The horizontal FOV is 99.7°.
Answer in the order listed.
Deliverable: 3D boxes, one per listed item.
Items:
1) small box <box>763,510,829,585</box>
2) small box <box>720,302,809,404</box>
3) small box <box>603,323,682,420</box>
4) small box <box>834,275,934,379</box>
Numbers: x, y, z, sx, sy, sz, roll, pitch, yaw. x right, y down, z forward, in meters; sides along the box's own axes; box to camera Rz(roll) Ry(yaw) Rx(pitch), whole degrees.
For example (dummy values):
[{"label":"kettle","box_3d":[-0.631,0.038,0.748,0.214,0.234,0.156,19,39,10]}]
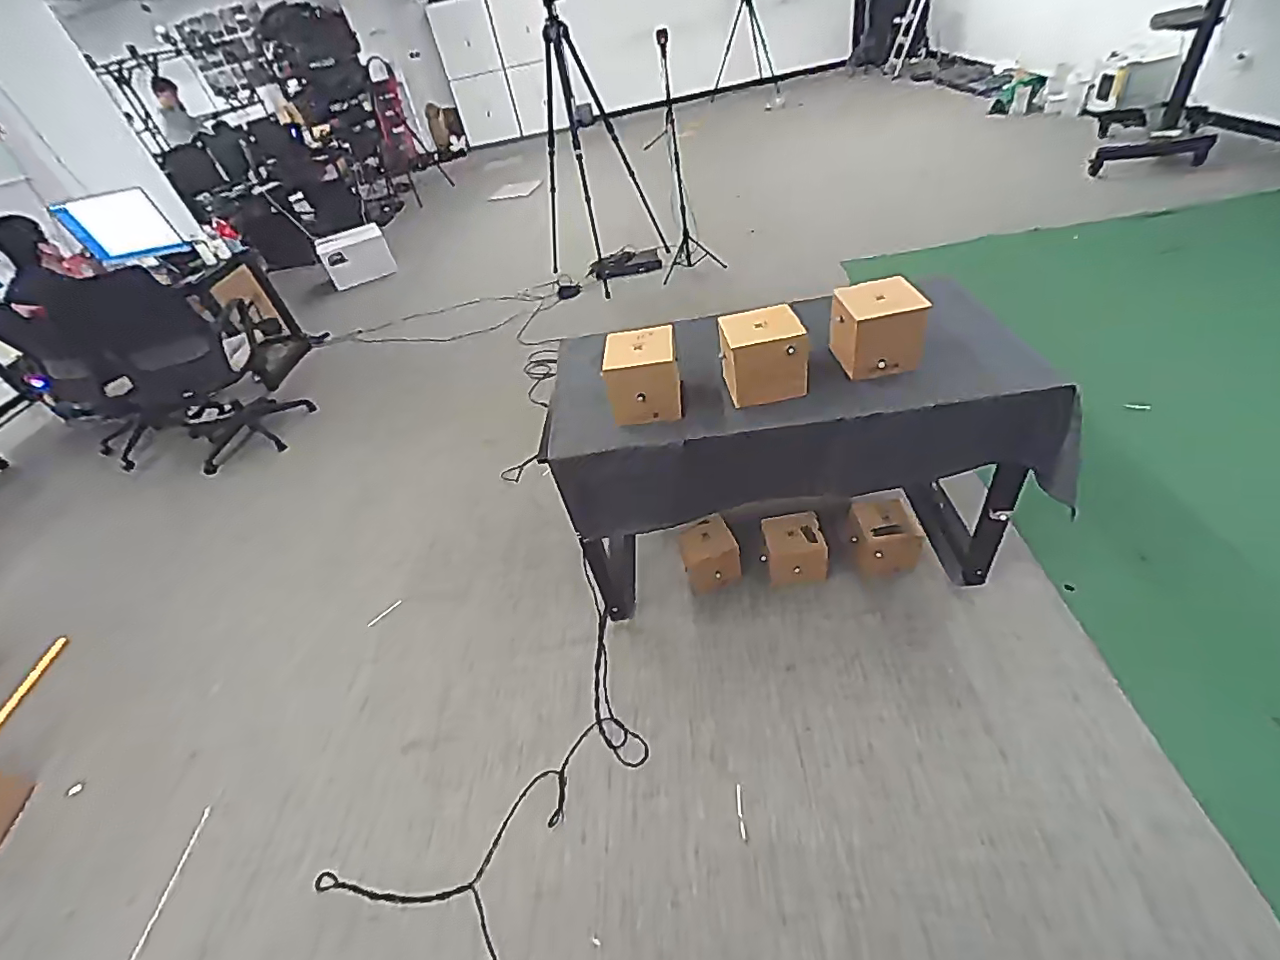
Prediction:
[{"label":"small box","box_3d":[0.504,0.222,1.768,0.179,0.176,0.168,-10,42,6]},{"label":"small box","box_3d":[0.299,-0.303,1.306,0.179,0.176,0.168,-10,42,3]},{"label":"small box","box_3d":[0.014,-0.261,1.332,0.168,0.176,0.179,-5,42,8]},{"label":"small box","box_3d":[0.575,-0.367,1.301,0.168,0.176,0.179,-10,42,6]}]
